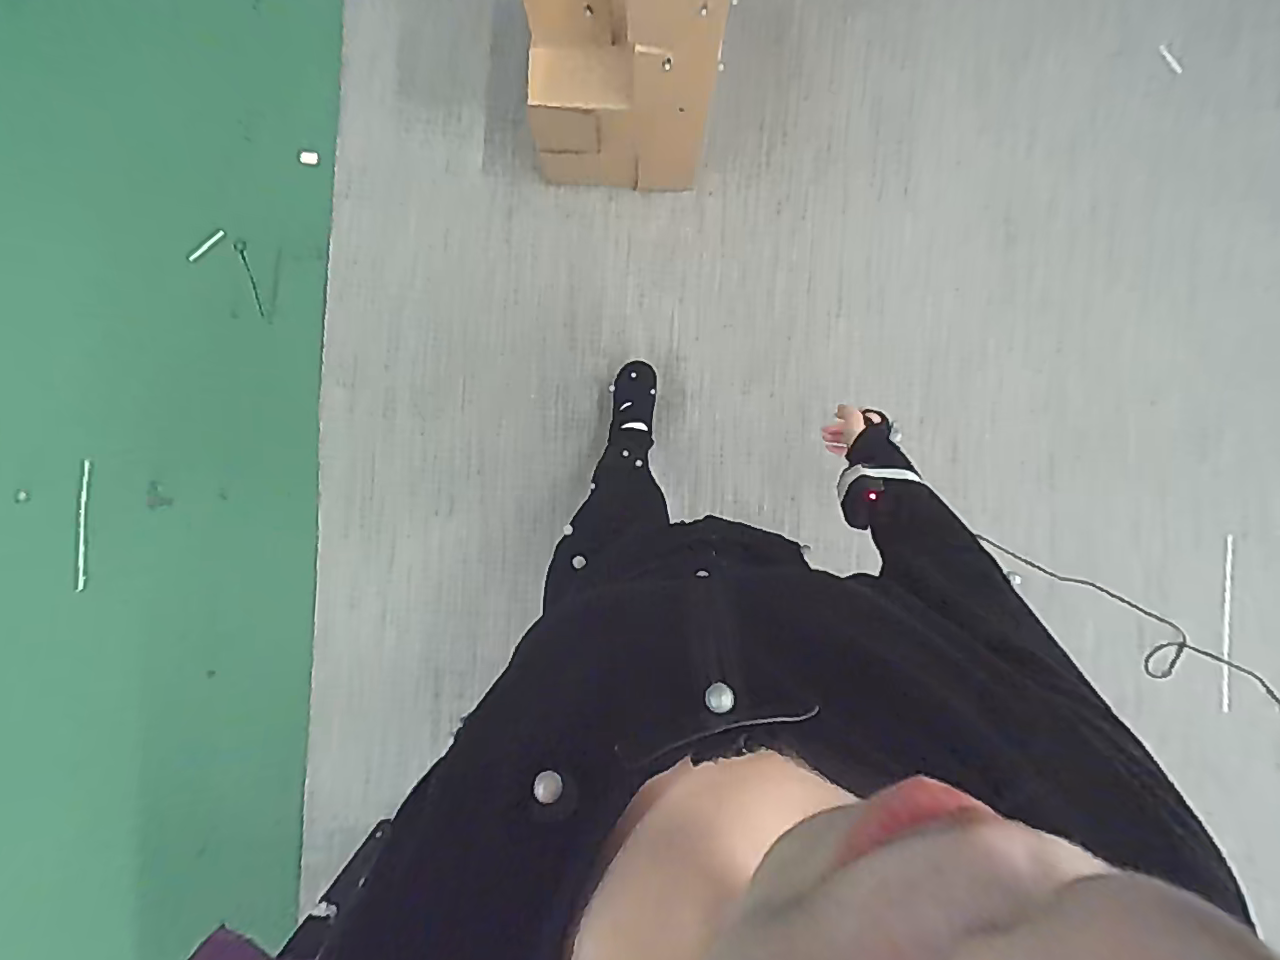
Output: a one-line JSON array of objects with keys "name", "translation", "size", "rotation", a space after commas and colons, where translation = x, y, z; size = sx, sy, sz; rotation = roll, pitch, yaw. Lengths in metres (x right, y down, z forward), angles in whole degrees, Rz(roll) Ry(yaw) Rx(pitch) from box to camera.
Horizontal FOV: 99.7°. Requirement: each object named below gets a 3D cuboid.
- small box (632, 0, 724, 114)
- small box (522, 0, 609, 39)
[{"name": "small box", "translation": [0.074, -0.893, 1.098], "size": [0.168, 0.176, 0.179], "rotation": [6, 88, 0]}, {"name": "small box", "translation": [-0.152, -1.047, 1.104], "size": [0.179, 0.176, 0.168], "rotation": [0, 87, 1]}]
